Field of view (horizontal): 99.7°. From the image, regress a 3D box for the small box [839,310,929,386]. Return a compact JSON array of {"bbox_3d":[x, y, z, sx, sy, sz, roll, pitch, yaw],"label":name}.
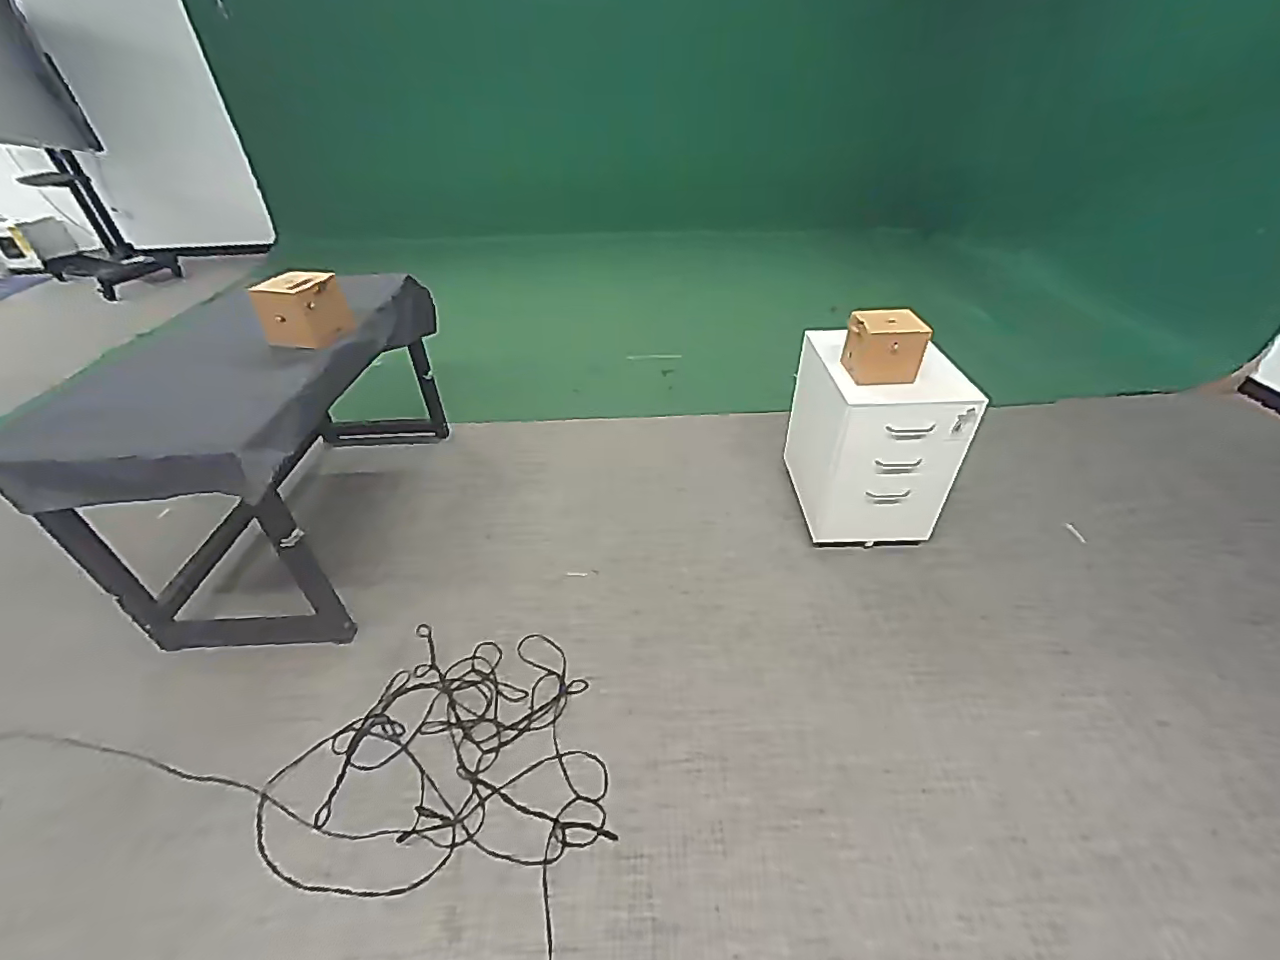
[{"bbox_3d":[0.720,-0.393,1.615,0.179,0.176,0.168,-2,39,0],"label":"small box"}]
